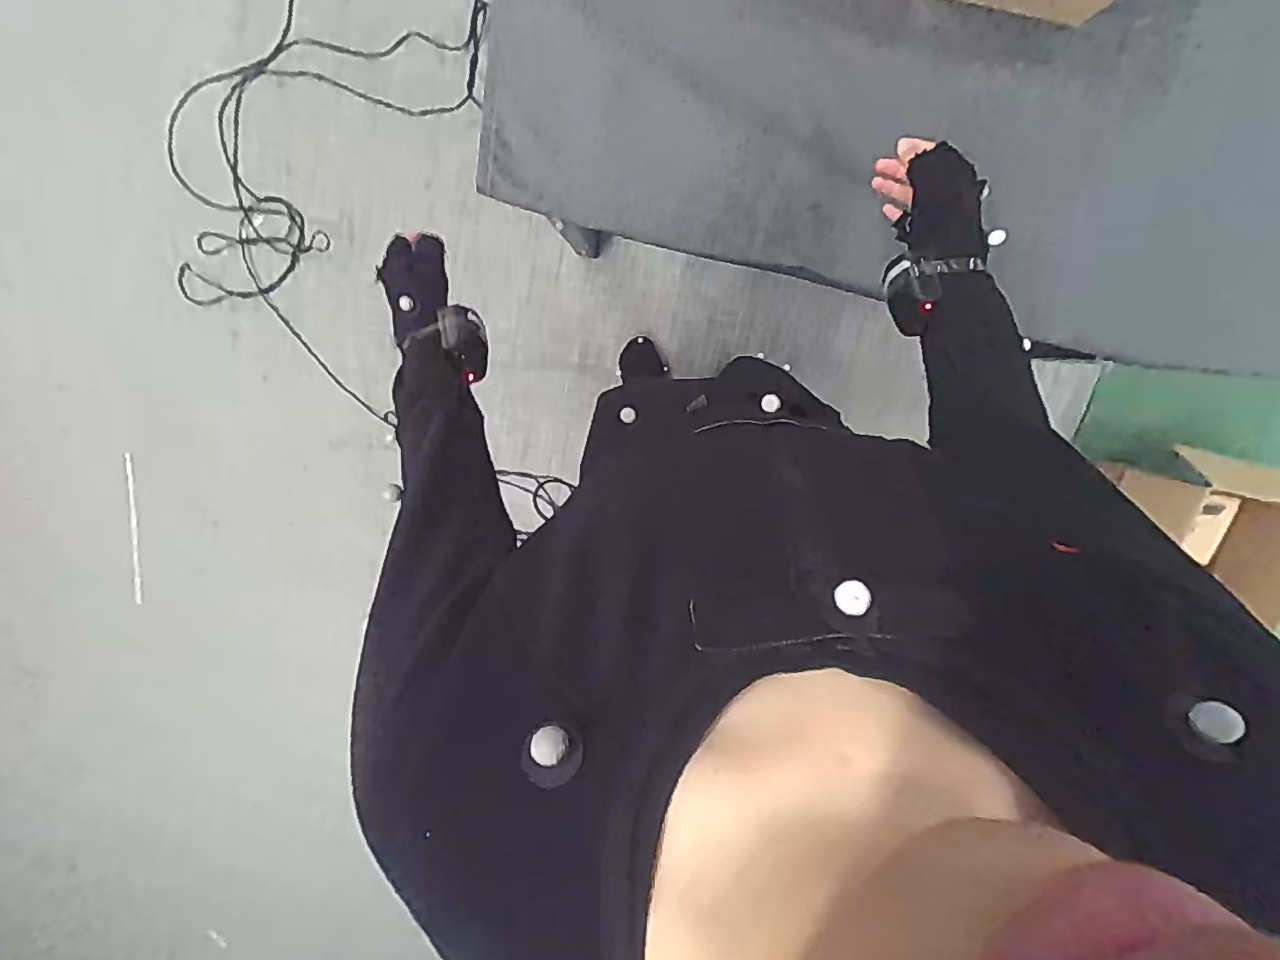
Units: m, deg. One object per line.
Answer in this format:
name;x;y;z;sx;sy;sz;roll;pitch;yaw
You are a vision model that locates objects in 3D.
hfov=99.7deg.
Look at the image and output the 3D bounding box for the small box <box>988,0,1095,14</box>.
small box;0.413;-0.575;0.493;0.179;0.176;0.168;10;104;-1
